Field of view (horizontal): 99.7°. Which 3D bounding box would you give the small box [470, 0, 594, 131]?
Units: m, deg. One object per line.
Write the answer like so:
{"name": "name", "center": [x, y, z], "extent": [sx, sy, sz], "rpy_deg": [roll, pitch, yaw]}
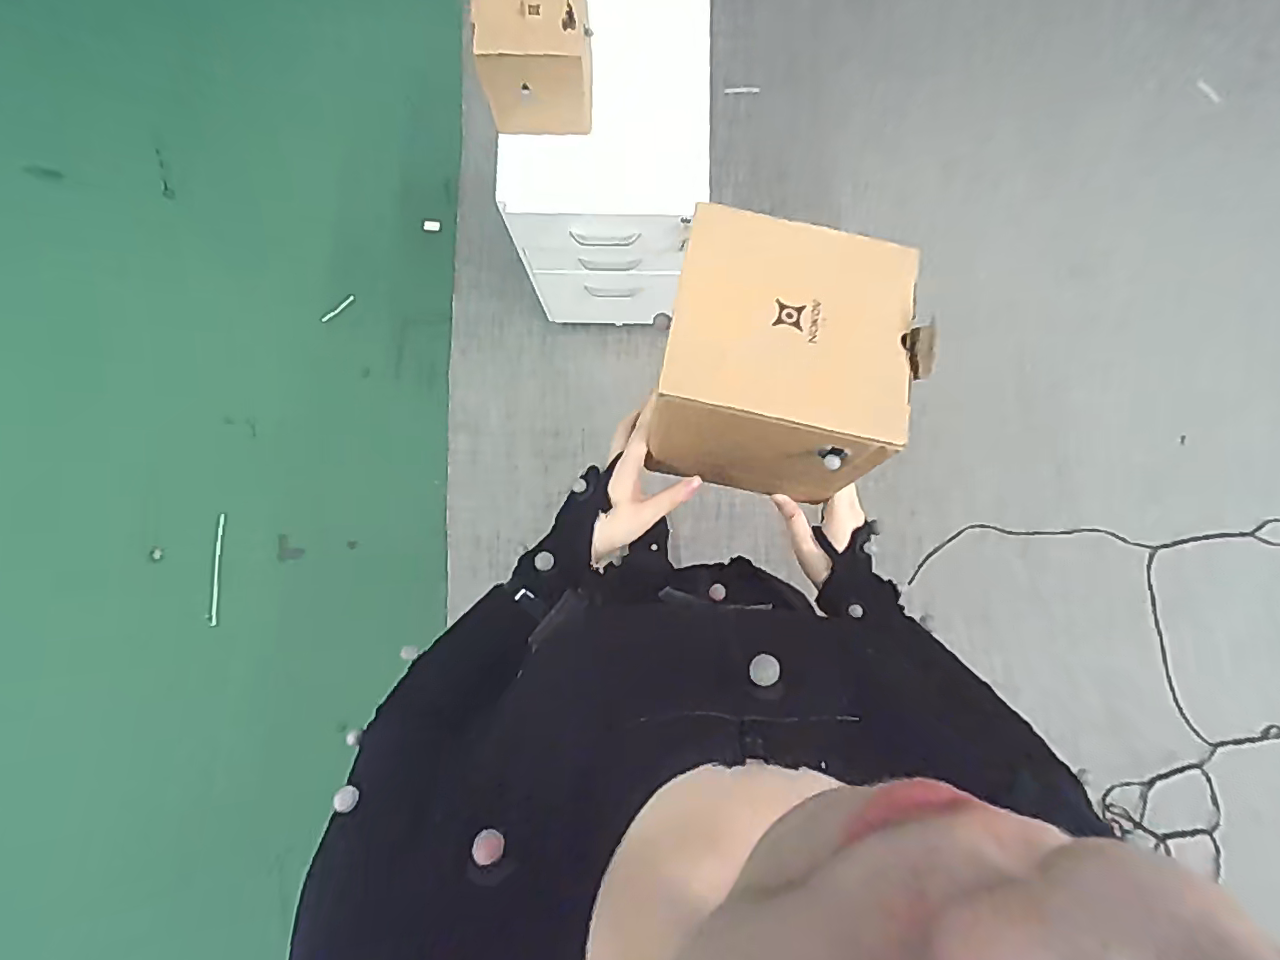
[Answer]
{"name": "small box", "center": [-0.176, -0.734, 0.928], "extent": [0.179, 0.176, 0.168], "rpy_deg": [0, 84, 0]}

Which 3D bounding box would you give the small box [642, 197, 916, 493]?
{"name": "small box", "center": [0.103, -0.097, 0.461], "extent": [0.179, 0.176, 0.168], "rpy_deg": [12, 74, -1]}
